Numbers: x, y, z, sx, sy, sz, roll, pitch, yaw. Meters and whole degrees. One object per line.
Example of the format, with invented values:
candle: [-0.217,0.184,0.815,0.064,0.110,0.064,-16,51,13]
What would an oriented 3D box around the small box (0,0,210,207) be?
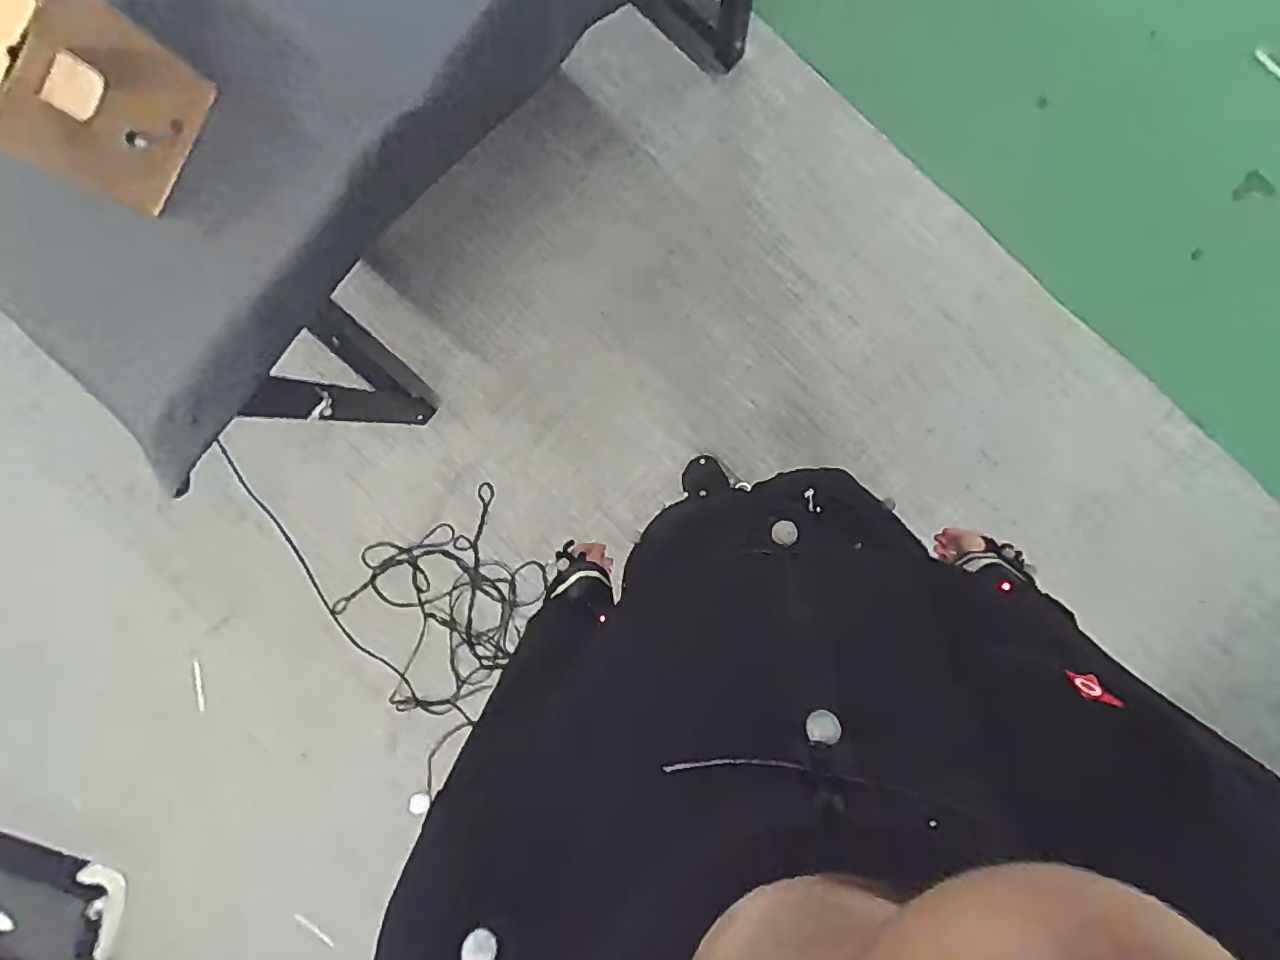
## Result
small box: [-0.600,-0.412,0.540,0.179,0.176,0.168,31,95,0]
